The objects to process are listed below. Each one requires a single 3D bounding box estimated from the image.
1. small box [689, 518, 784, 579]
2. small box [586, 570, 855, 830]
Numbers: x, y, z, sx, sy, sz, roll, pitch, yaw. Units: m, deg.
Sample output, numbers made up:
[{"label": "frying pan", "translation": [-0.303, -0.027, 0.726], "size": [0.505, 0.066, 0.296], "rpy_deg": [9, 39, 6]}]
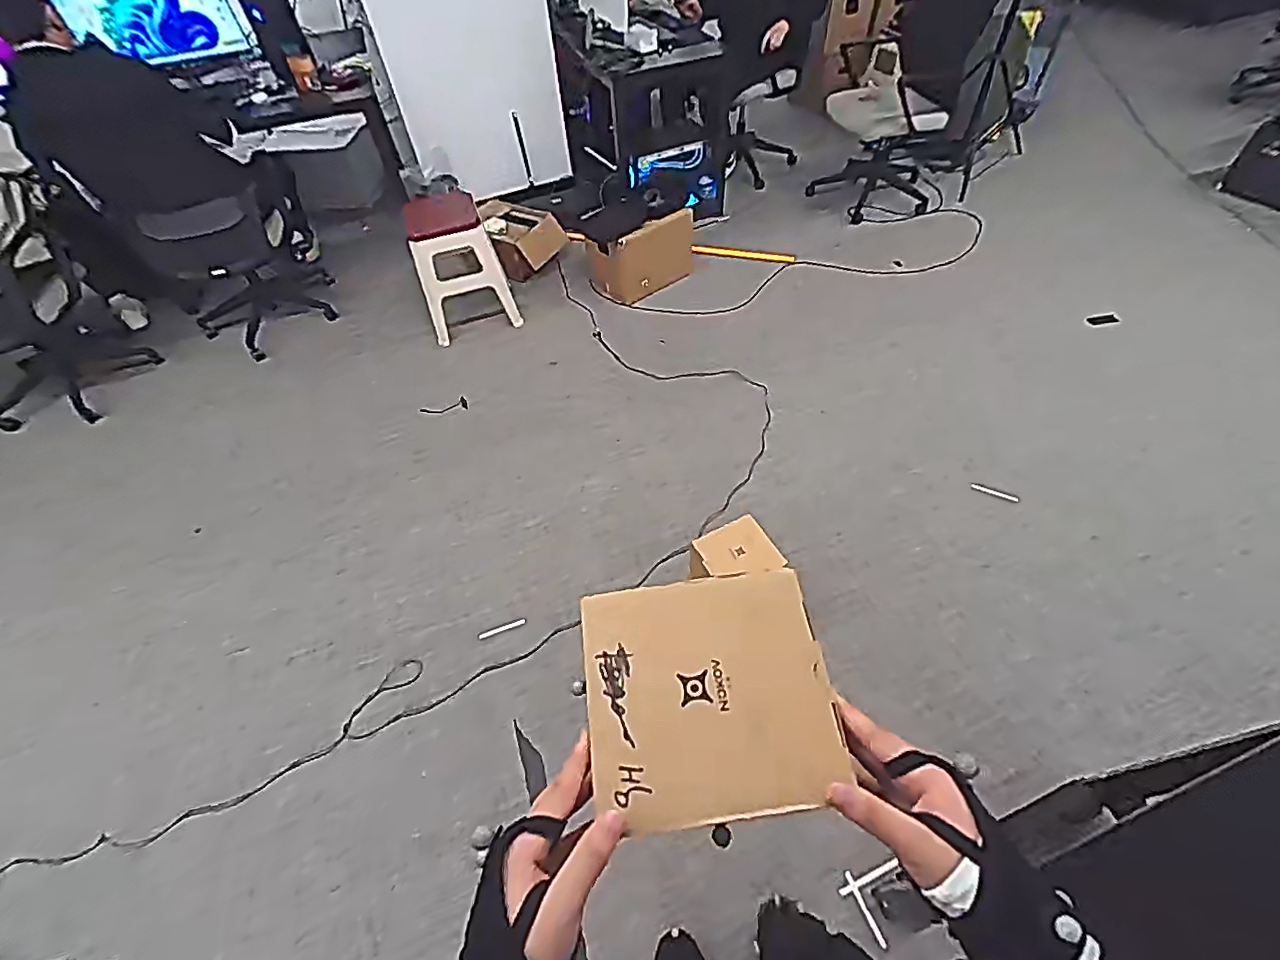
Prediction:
[{"label": "small box", "translation": [0.240, 0.233, 1.379], "size": [0.179, 0.176, 0.168], "rpy_deg": [-23, 55, -14]}, {"label": "small box", "translation": [0.052, 0.194, 0.466], "size": [0.179, 0.176, 0.168], "rpy_deg": [-7, 56, -2]}]
